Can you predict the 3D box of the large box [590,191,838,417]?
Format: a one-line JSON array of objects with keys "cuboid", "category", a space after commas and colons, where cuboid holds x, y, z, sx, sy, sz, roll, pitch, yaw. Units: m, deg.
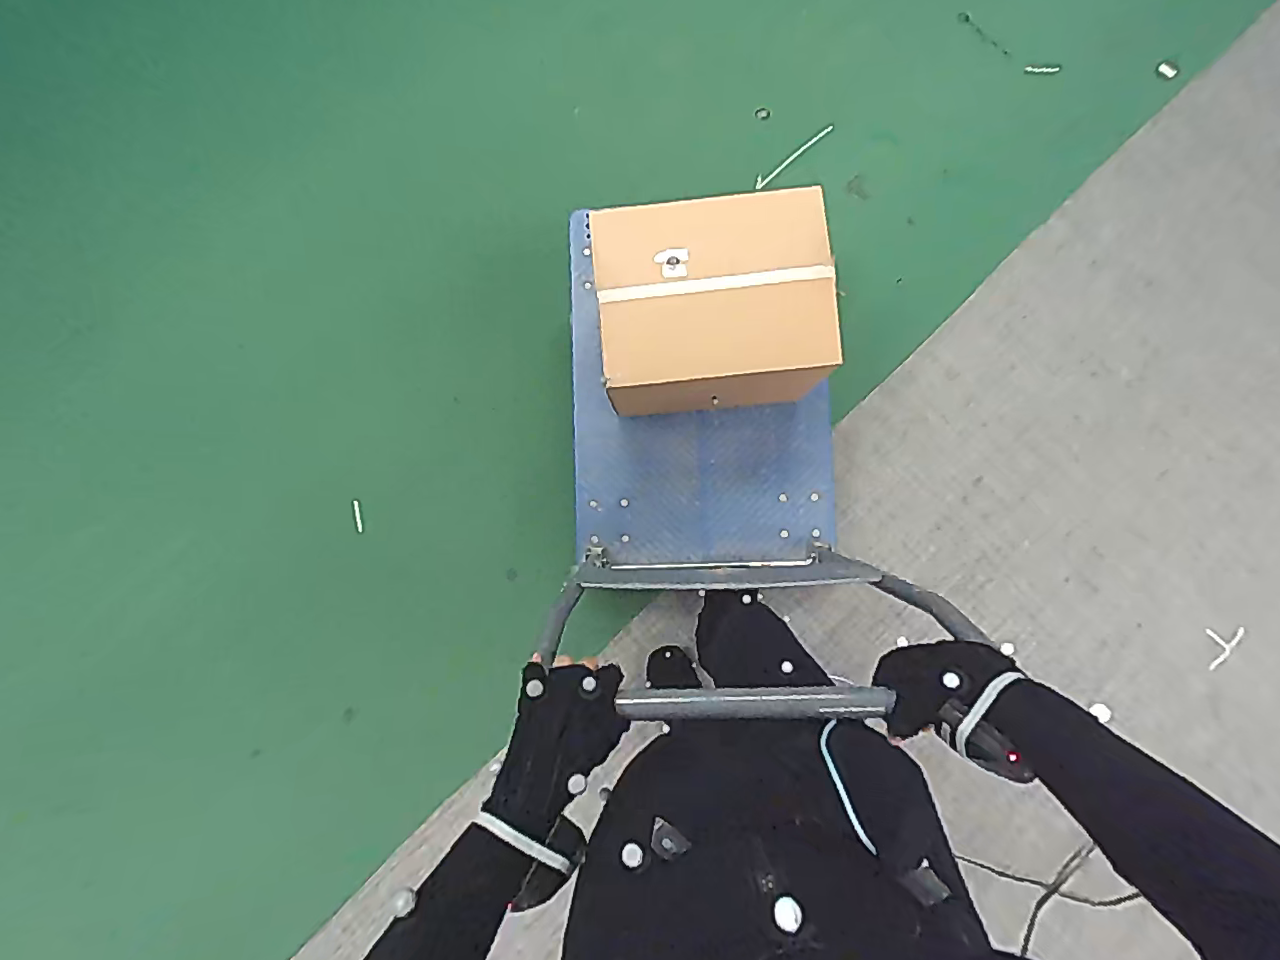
[{"cuboid": [0.135, -0.320, 1.085, 0.408, 0.320, 0.320, -6, 87, 3], "category": "large box"}]
